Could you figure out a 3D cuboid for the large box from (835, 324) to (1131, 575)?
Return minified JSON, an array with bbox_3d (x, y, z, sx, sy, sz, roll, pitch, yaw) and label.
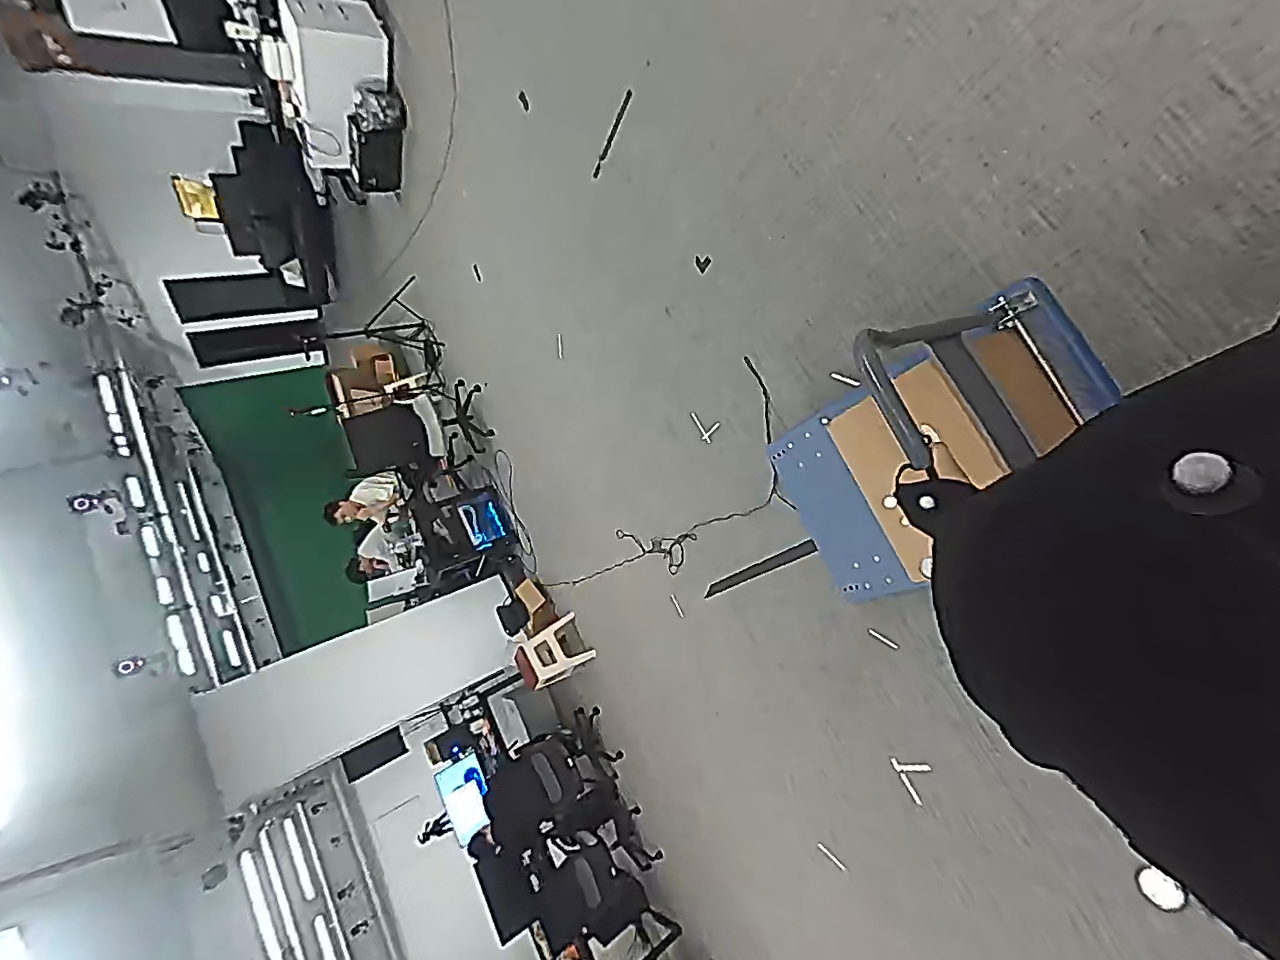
[{"bbox_3d":[0.716,-0.063,1.158,0.408,0.320,0.320,64,148,10],"label":"large box"}]
